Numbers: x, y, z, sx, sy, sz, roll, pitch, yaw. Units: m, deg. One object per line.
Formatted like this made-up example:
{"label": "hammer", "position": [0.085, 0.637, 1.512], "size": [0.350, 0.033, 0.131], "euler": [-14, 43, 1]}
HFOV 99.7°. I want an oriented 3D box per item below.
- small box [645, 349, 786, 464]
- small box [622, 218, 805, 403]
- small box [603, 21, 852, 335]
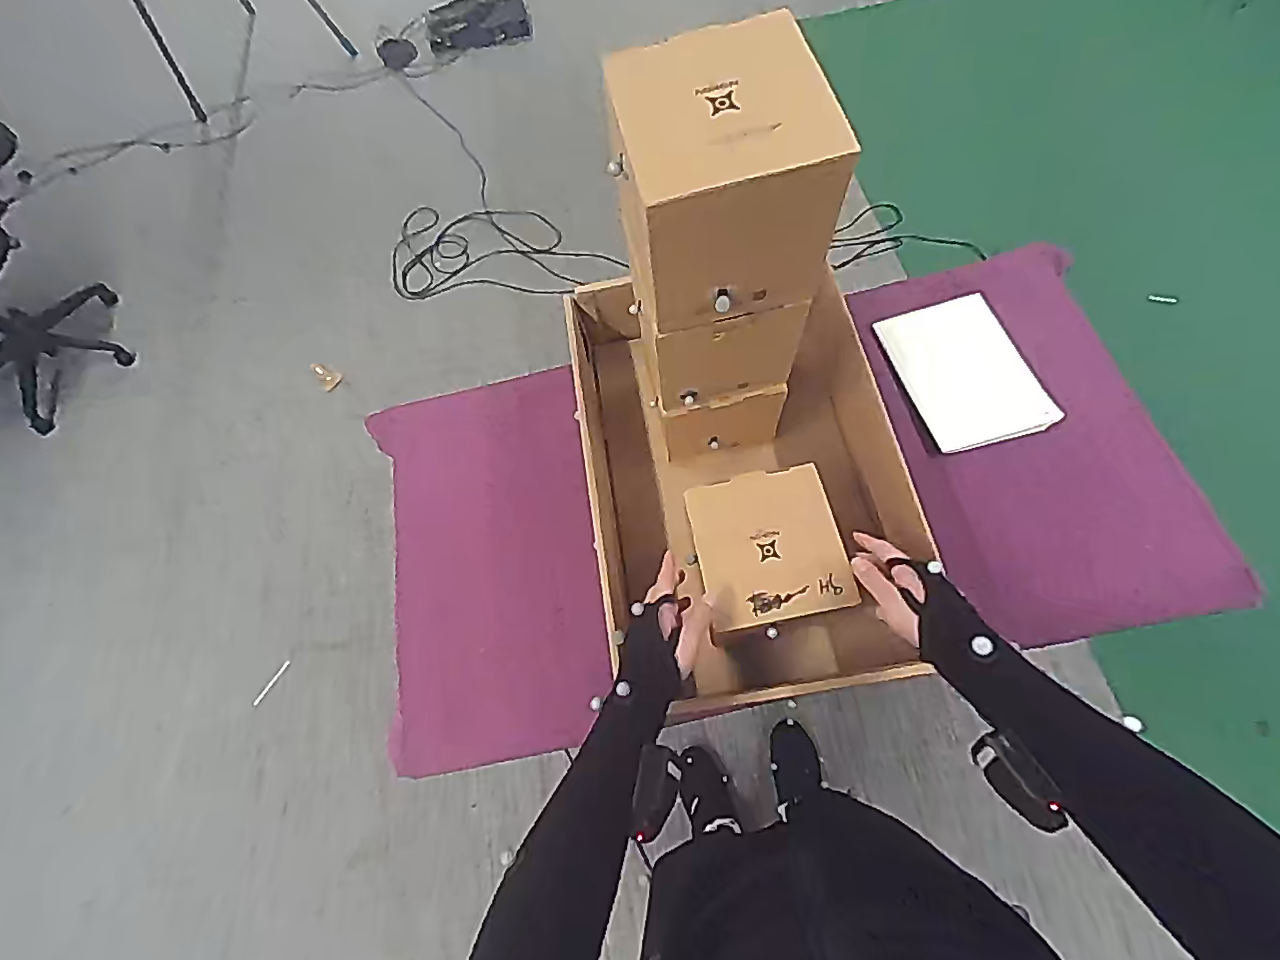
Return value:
{"label": "small box", "position": [0.102, -0.145, 0.807], "size": [0.168, 0.176, 0.179], "euler": [-13, 69, 1]}
{"label": "small box", "position": [0.083, -0.211, 0.657], "size": [0.168, 0.176, 0.179], "euler": [-13, 68, 1]}
{"label": "small box", "position": [0.069, -0.268, 0.505], "size": [0.168, 0.176, 0.179], "euler": [-13, 69, 1]}
